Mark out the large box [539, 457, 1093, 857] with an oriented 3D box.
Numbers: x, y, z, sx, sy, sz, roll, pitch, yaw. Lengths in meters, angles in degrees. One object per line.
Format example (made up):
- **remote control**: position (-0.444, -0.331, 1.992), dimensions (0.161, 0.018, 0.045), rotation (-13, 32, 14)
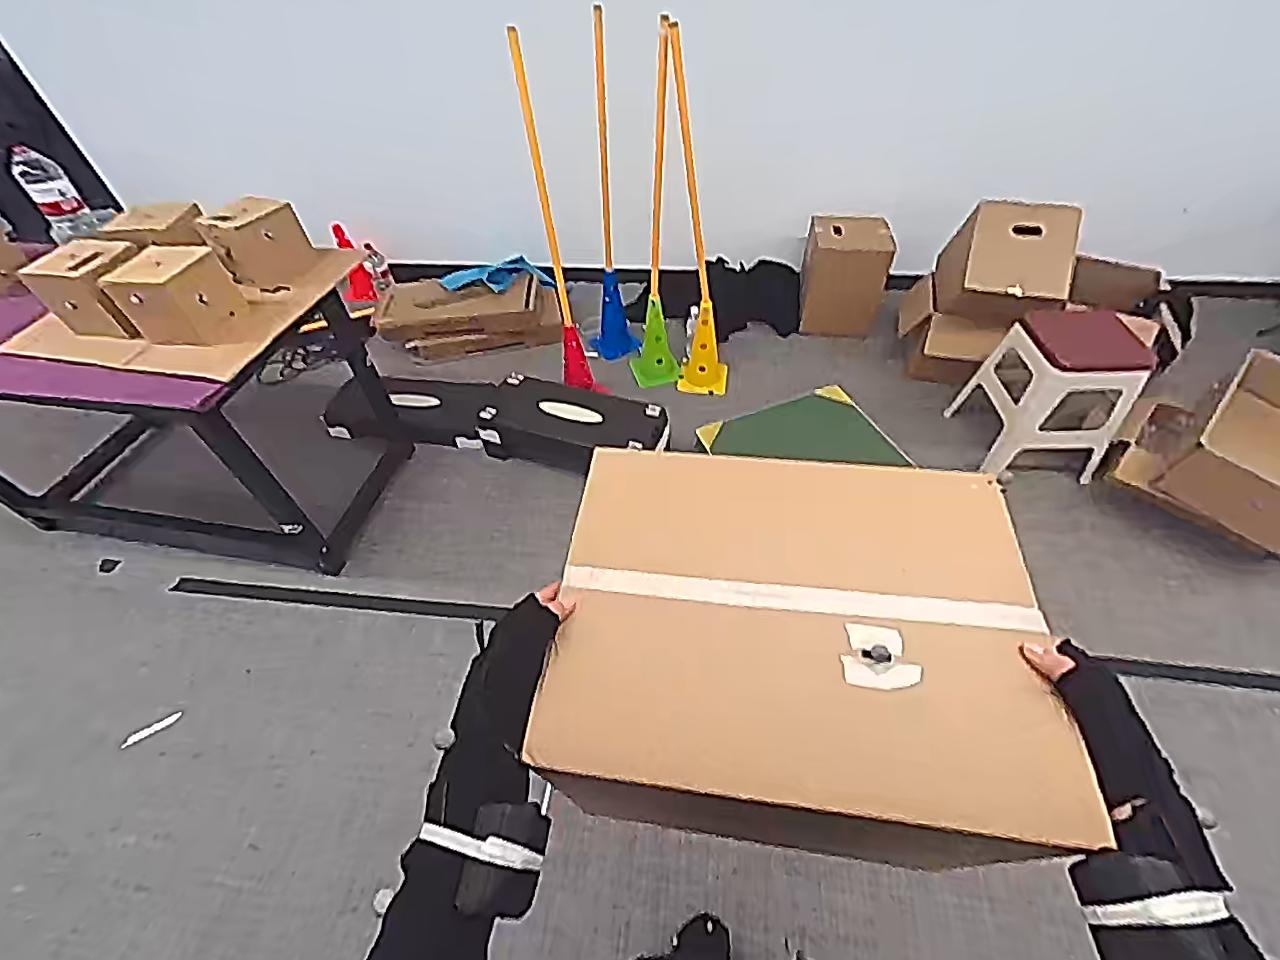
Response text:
- **large box**: position (0.142, 0.198, 0.598), dimensions (0.408, 0.320, 0.320), rotation (4, 54, 8)
